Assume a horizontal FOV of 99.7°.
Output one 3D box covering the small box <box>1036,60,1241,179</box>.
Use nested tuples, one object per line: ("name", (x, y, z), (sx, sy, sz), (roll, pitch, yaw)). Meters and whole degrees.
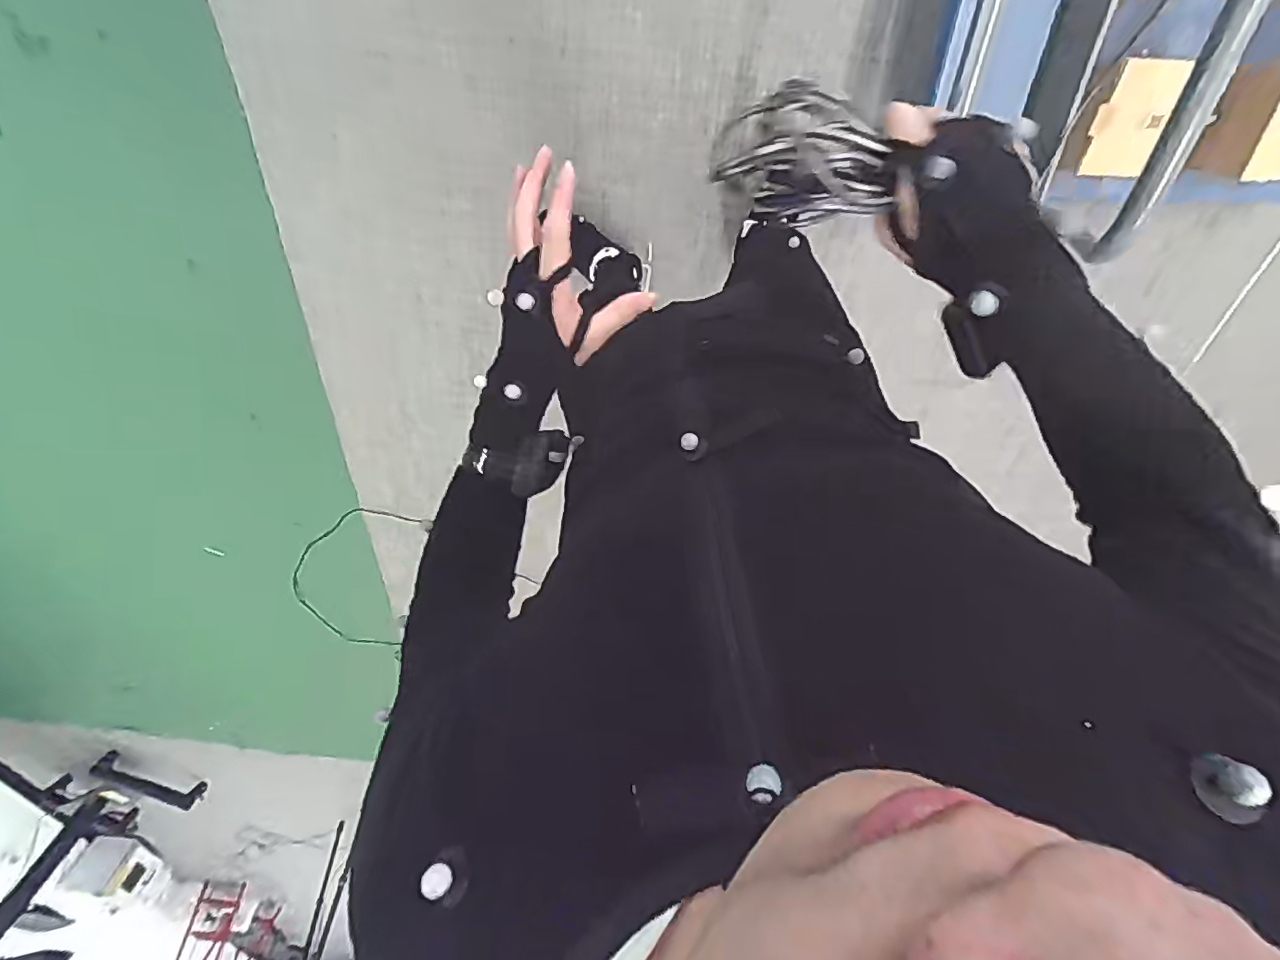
("small box", (0.872, -0.649, 0.970), (0.179, 0.176, 0.168), (4, 126, 3))

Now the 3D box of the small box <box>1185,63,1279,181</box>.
("small box", (1.142, -0.634, 0.952), (0.179, 0.176, 0.168), (0, 126, 6))
